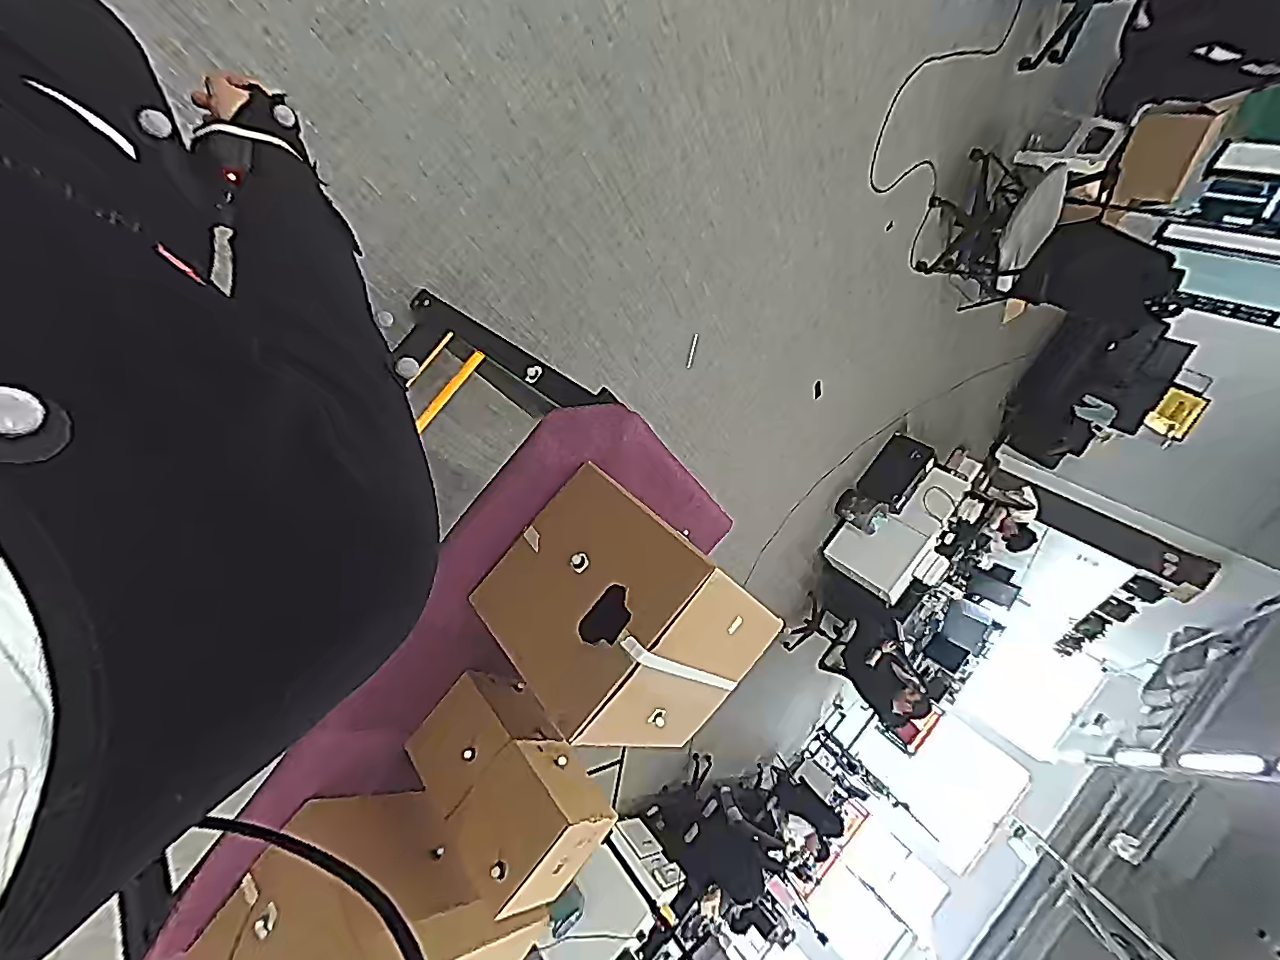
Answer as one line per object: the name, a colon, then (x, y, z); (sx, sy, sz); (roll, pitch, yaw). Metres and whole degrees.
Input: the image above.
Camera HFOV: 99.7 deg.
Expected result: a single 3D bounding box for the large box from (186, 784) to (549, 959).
large box: (-0.445, 0.777, 0.930); (0.320, 0.320, 0.408); (-52, 145, -3)
